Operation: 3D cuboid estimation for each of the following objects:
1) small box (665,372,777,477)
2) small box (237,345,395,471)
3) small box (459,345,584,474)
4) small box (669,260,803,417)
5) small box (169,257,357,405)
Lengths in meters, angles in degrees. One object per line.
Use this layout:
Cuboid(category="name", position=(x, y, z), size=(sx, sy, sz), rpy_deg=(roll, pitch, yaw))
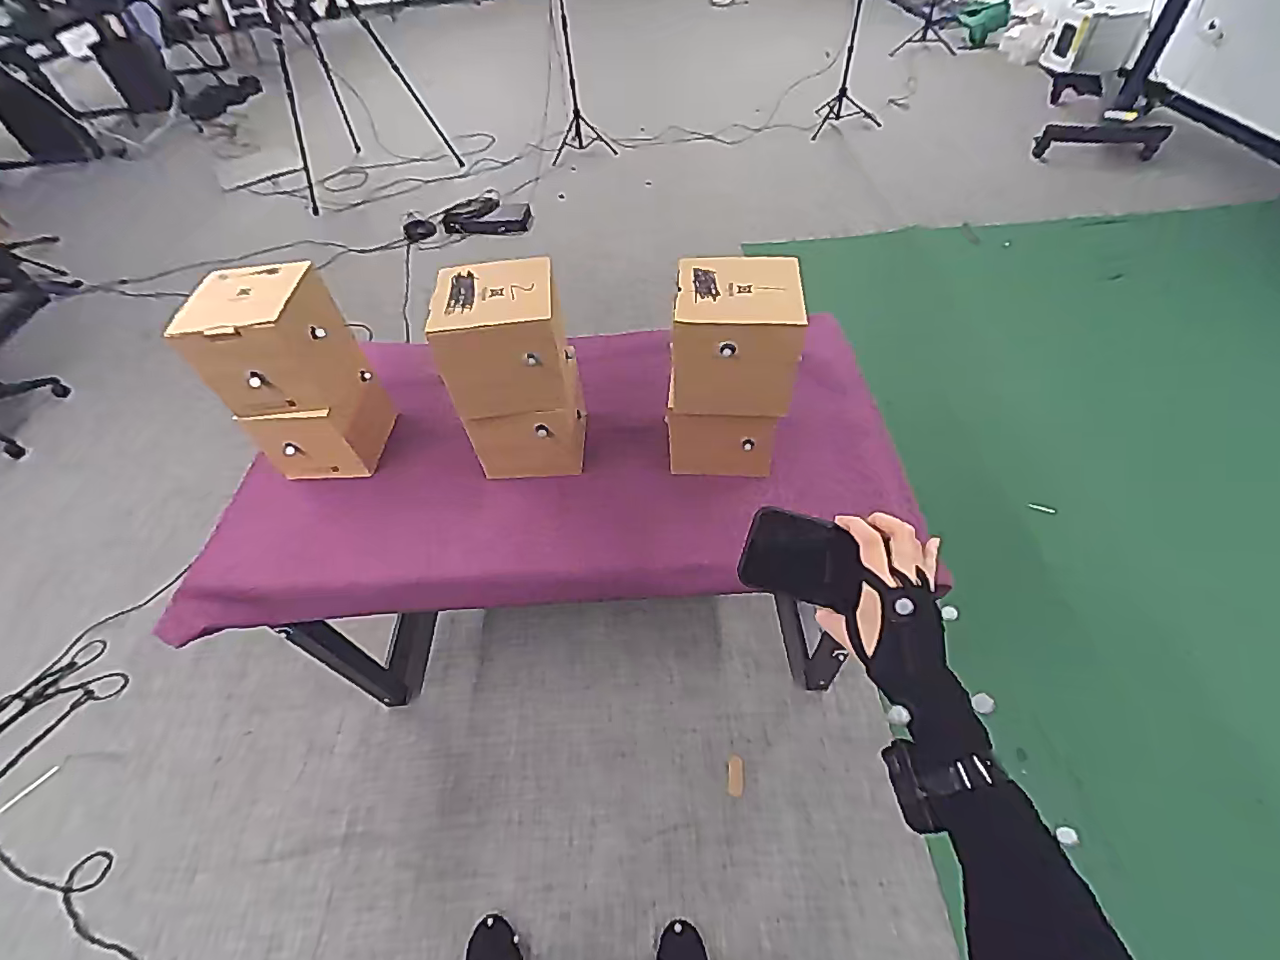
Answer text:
Cuboid(category="small box", position=(0.140, -0.120, 0.951), size=(0.179, 0.176, 0.168), rpy_deg=(3, 51, 8))
Cuboid(category="small box", position=(-0.589, -0.129, 1.014), size=(0.168, 0.176, 0.179), rpy_deg=(-1, 51, 4))
Cuboid(category="small box", position=(-0.200, -0.124, 0.978), size=(0.179, 0.176, 0.168), rpy_deg=(-1, 51, 3))
Cuboid(category="small box", position=(0.138, -0.211, 0.813), size=(0.179, 0.176, 0.168), rpy_deg=(3, 51, 6))
Cuboid(category="small box", position=(-0.599, -0.238, 0.891), size=(0.168, 0.176, 0.179), rpy_deg=(-5, 52, 0))
